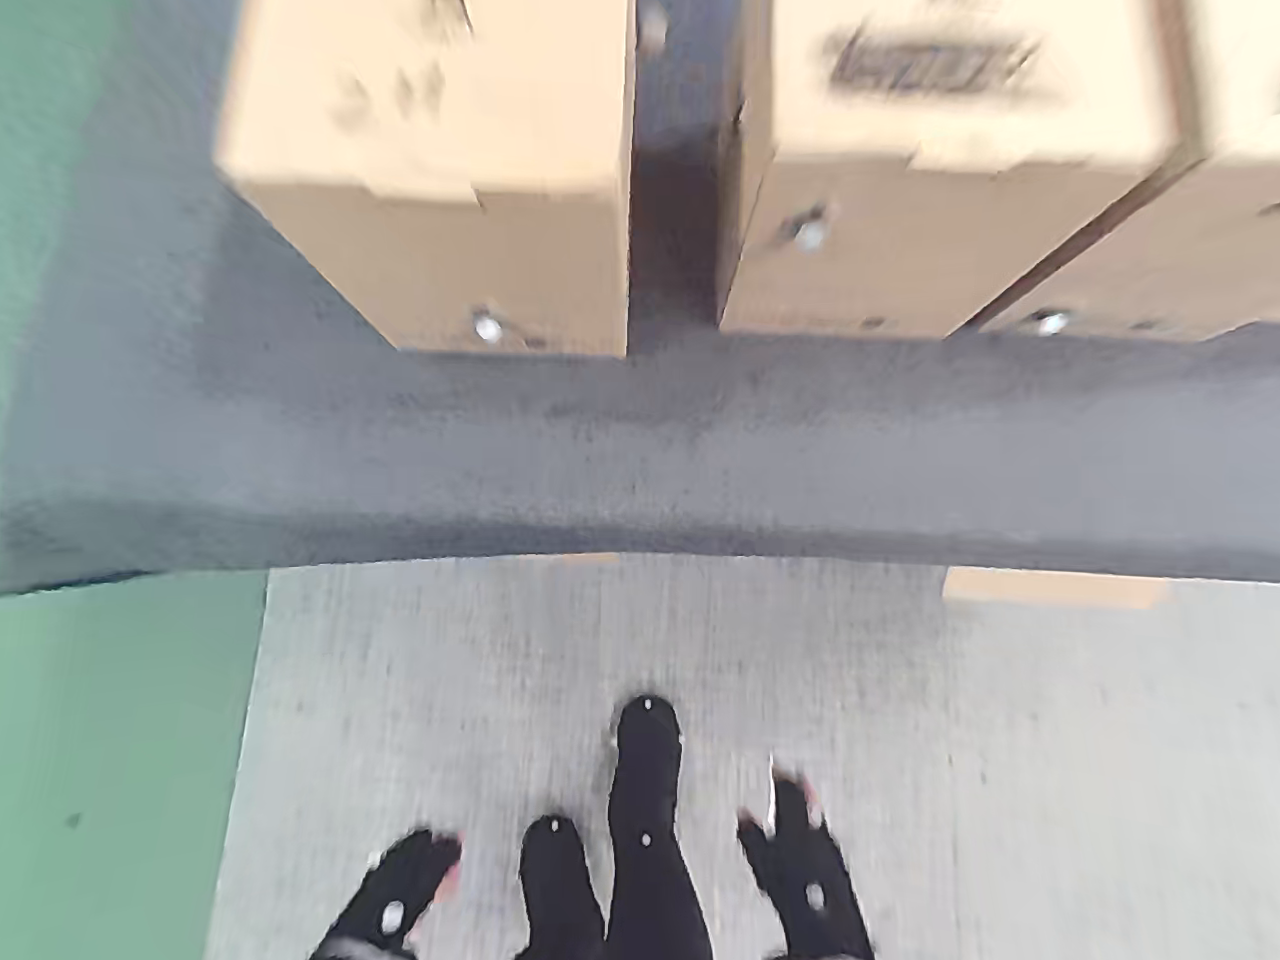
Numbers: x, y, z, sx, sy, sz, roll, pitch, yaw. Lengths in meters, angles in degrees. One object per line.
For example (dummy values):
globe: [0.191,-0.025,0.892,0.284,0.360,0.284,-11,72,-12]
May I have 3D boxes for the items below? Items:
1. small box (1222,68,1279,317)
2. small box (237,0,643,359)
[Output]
small box: [0.526,-0.215,0.332,0.168,0.176,0.179,3,80,0]
small box: [-0.084,-0.190,0.320,0.168,0.176,0.179,2,79,0]
